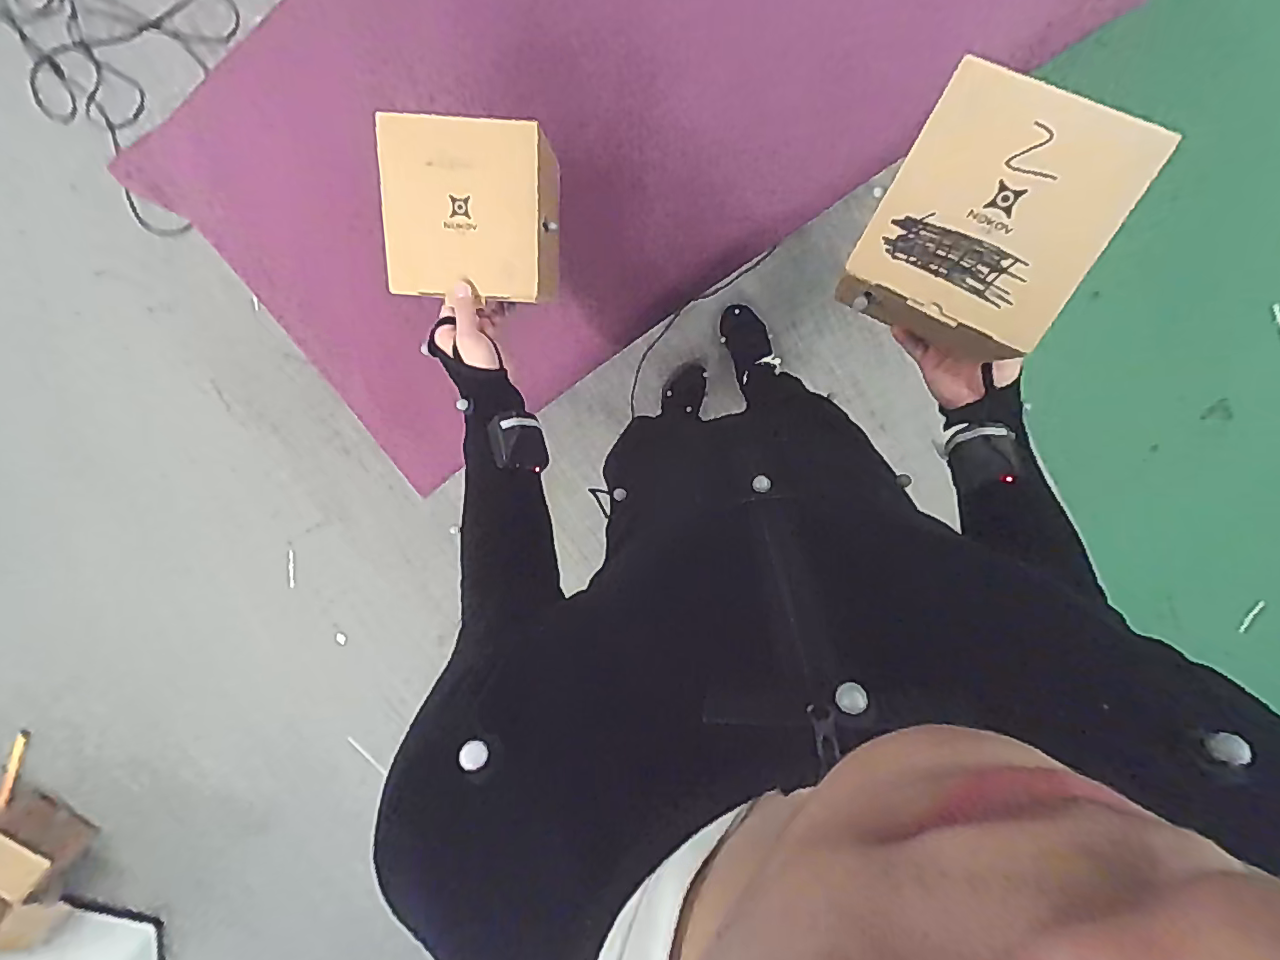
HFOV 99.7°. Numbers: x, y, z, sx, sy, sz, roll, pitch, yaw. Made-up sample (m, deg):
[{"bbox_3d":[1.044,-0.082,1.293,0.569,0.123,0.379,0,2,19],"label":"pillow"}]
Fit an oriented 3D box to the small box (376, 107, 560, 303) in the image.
[{"bbox_3d":[-0.190,-0.308,0.643,0.168,0.176,0.179,4,107,-1],"label":"small box"}]
